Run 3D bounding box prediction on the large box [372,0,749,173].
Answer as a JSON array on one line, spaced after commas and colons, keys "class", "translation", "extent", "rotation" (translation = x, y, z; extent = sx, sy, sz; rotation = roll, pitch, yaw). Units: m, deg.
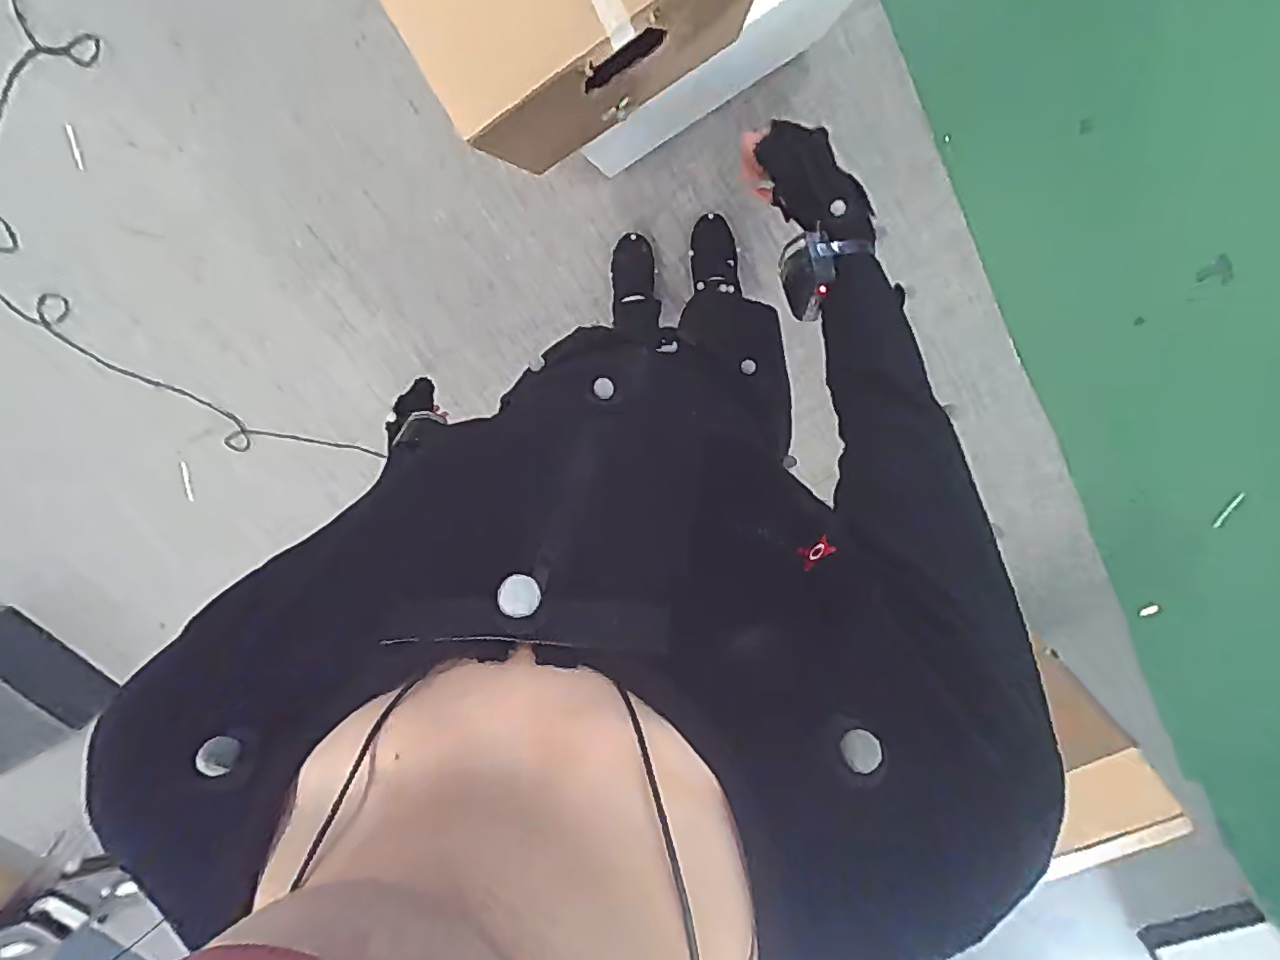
[{"class": "large box", "translation": [-0.113, -0.582, 0.506], "extent": [0.320, 0.320, 0.408], "rotation": [-26, 109, 14]}]
